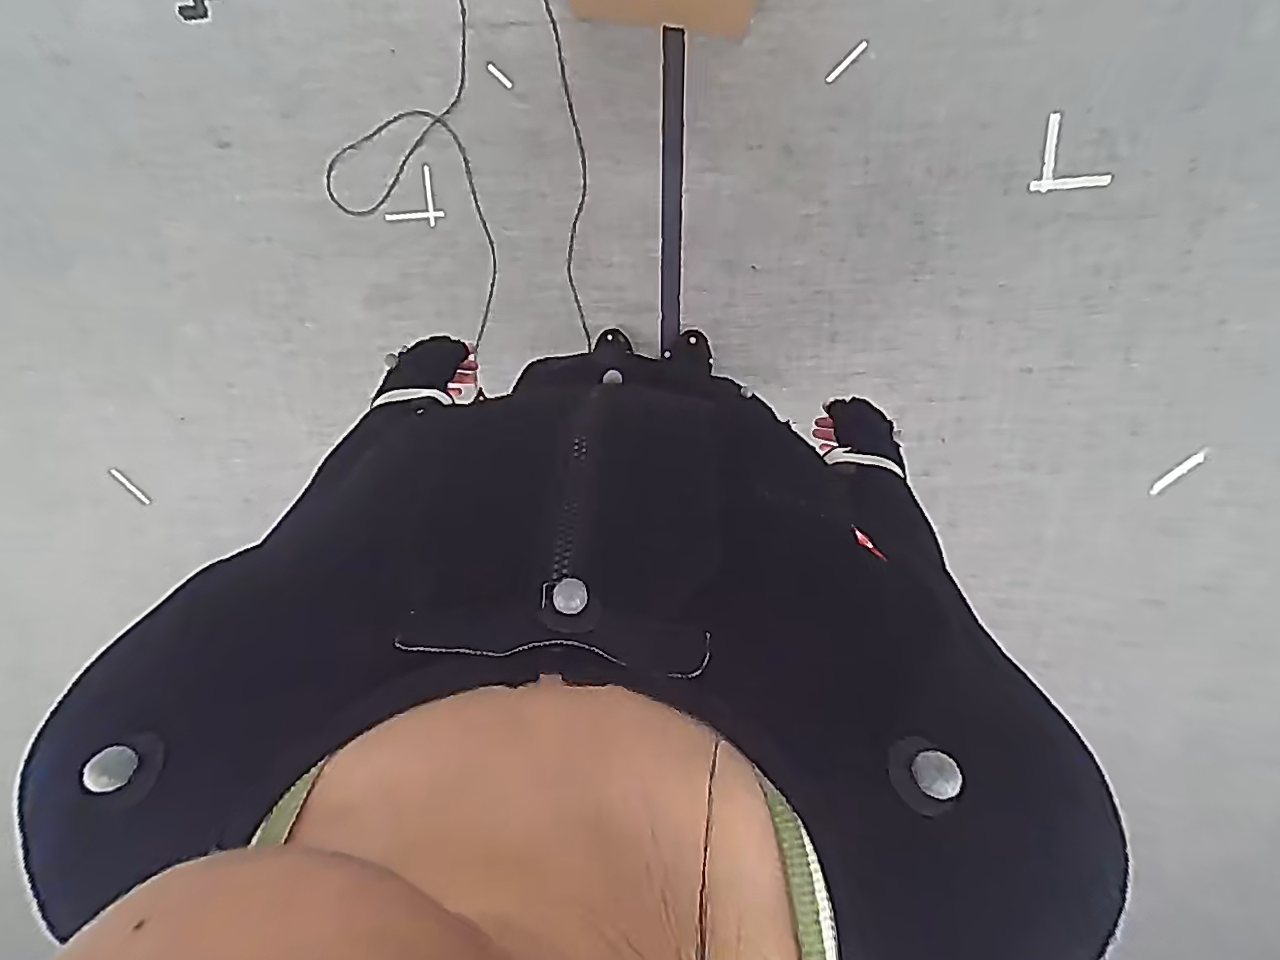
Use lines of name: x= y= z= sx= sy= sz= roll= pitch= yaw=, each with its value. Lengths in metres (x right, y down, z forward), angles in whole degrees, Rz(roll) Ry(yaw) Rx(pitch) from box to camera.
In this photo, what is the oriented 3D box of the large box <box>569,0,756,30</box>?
large box: x=0.052 y=-1.131 z=1.035 sx=0.408 sy=0.320 sz=0.320 roll=7 pitch=106 yaw=1
